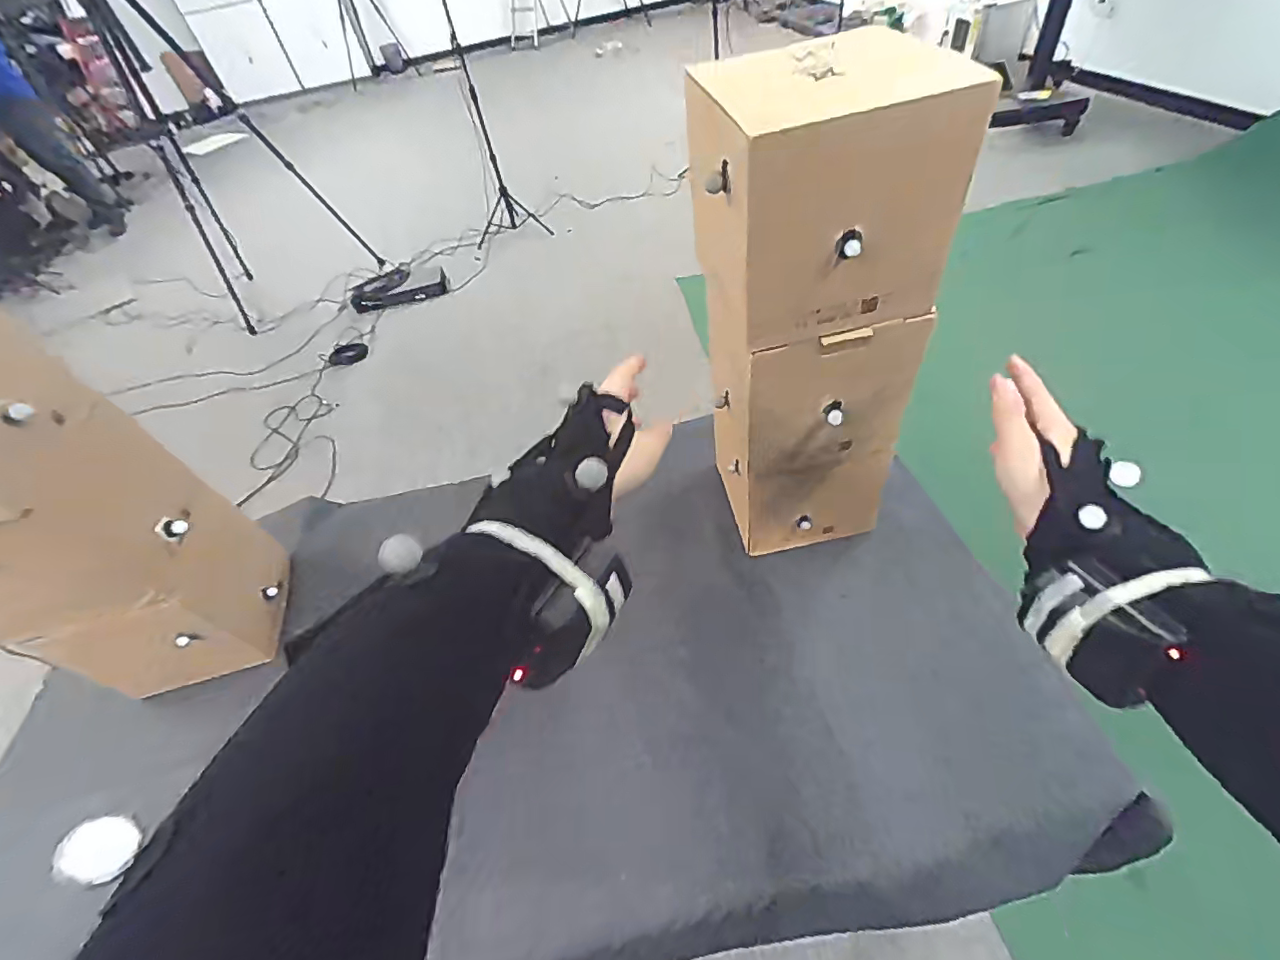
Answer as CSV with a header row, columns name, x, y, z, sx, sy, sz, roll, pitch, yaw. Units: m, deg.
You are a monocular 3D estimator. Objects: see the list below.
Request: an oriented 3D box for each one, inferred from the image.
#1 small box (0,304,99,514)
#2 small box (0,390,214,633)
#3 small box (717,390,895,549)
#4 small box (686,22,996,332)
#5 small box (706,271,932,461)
name,x,y,z,sx,sy,sz,roll,pitch,yaw
small box,-0.626,-0.061,0.438,0.179,0.176,0.168,-14,51,-4
small box,-0.610,0.038,0.569,0.179,0.176,0.168,-16,51,-5
small box,0.197,-0.037,0.703,0.168,0.176,0.179,-12,50,0
small box,0.142,-0.241,0.450,0.168,0.176,0.179,-13,49,-1
small box,0.172,-0.138,0.576,0.168,0.176,0.179,-12,50,0
